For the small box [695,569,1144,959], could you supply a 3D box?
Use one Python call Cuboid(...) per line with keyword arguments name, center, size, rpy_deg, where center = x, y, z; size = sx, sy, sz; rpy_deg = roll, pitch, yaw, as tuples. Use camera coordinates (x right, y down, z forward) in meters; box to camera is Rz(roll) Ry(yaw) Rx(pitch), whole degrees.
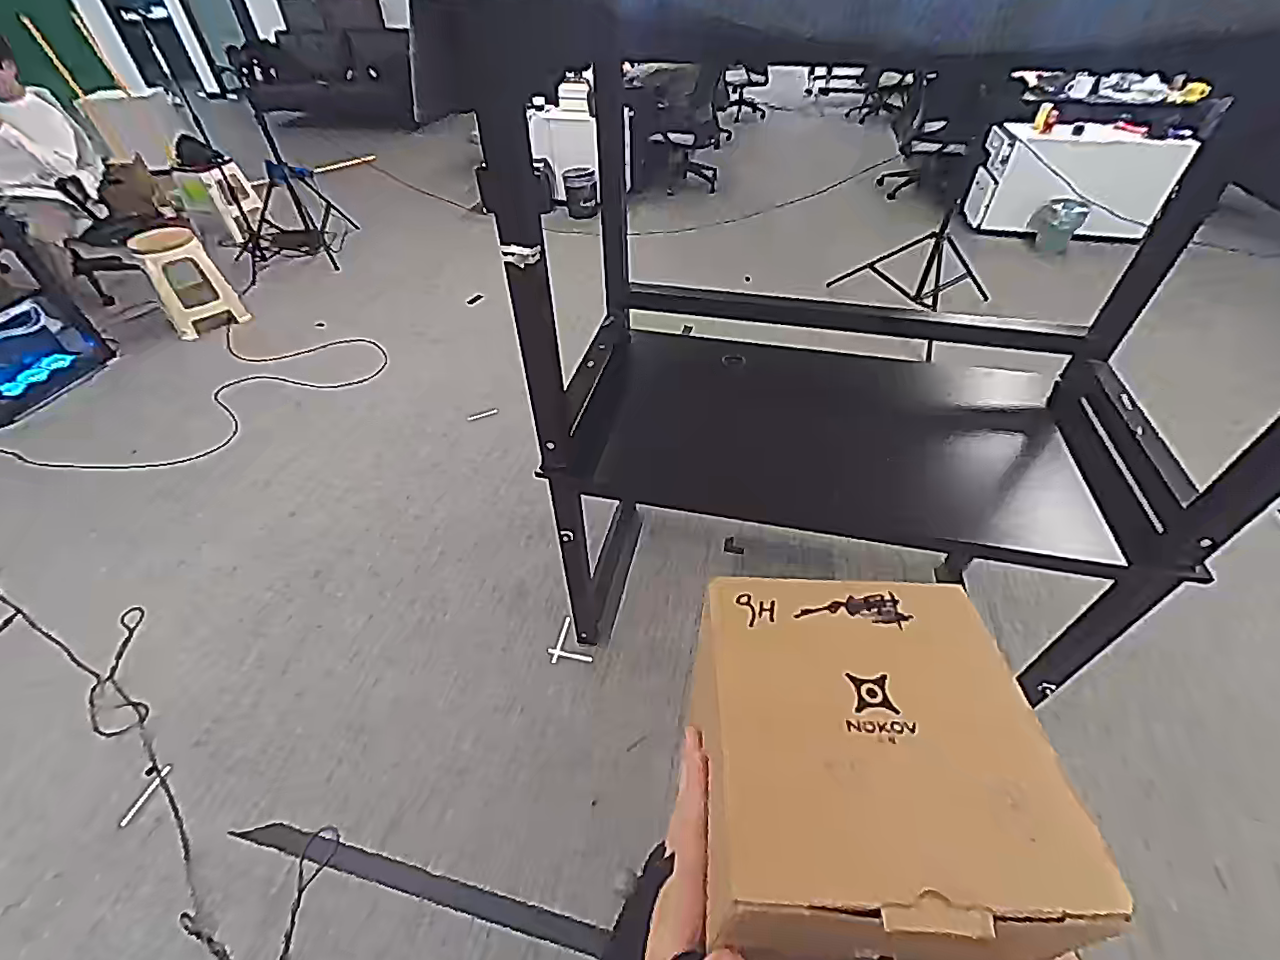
Cuboid(name="small box", center=(0.124, 0.177, 0.331), size=(0.168, 0.176, 0.179), rpy_deg=(3, 40, 1))
